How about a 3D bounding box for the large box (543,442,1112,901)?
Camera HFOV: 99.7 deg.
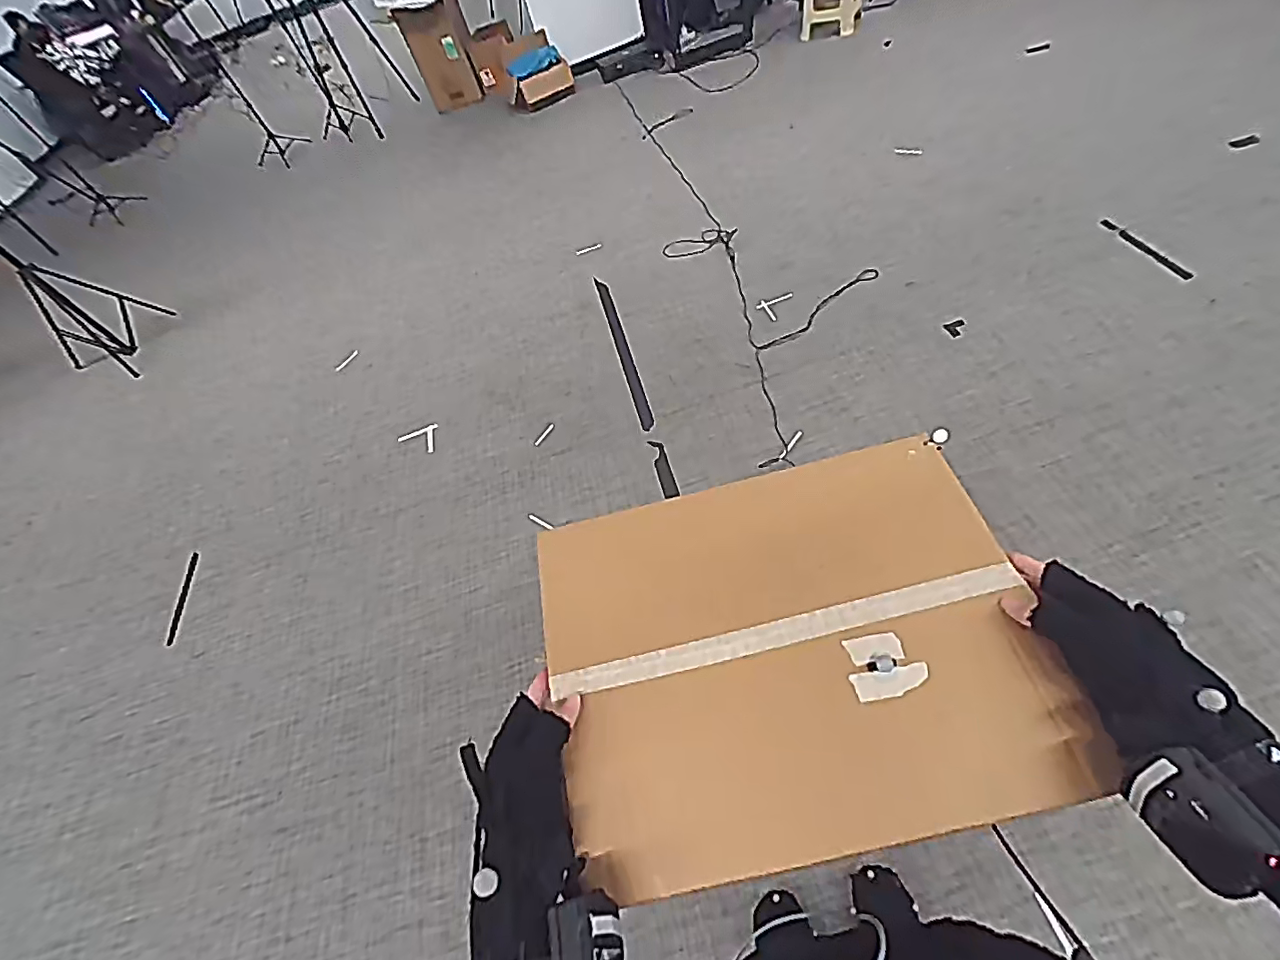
[{"bbox_3d":[0.142,0.214,0.596,0.408,0.320,0.320,-14,56,1],"label":"large box"}]
